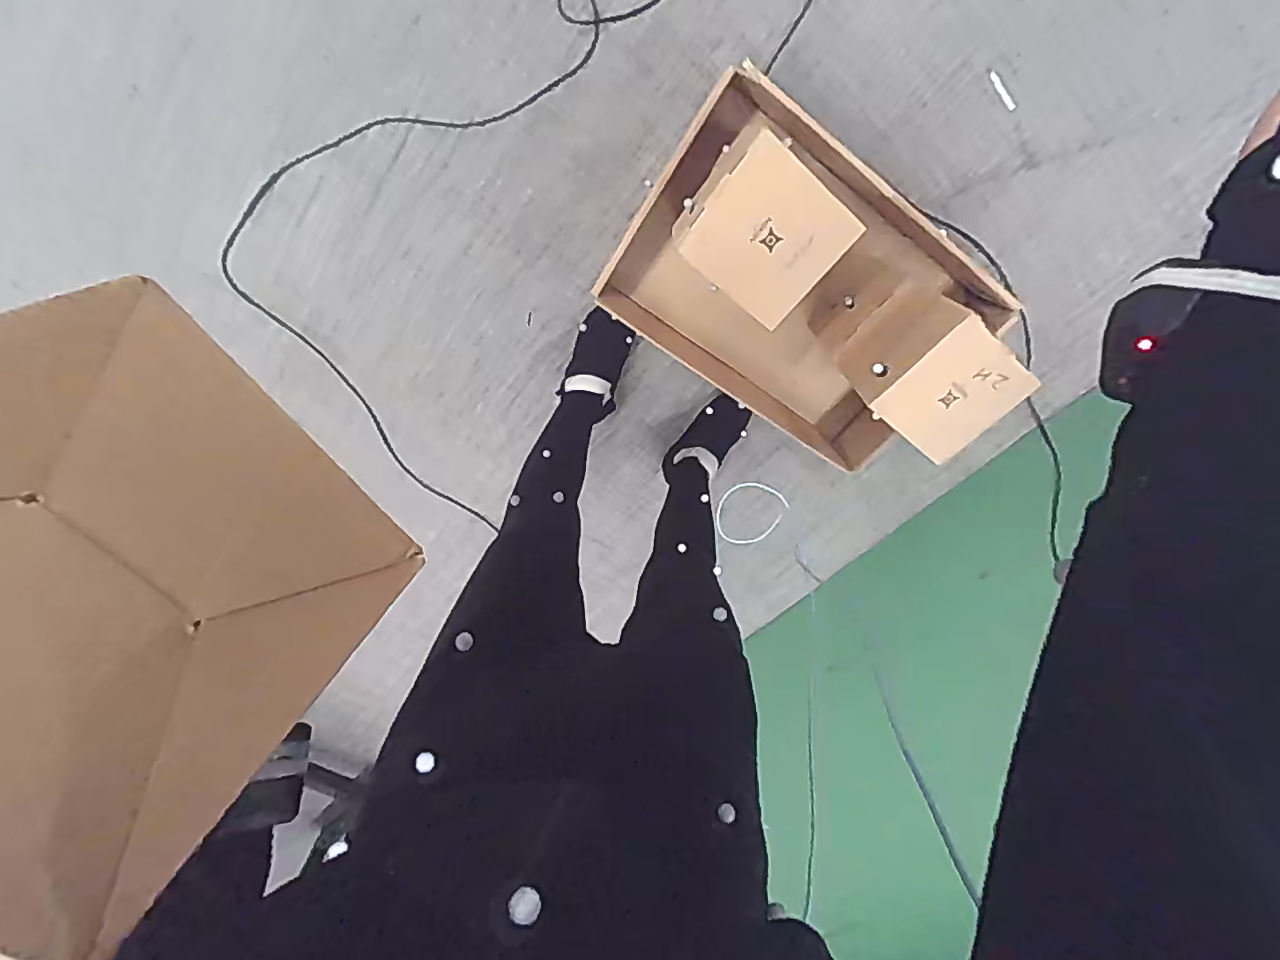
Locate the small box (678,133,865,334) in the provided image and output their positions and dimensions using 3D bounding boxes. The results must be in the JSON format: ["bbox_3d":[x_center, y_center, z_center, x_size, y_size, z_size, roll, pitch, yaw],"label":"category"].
[{"bbox_3d":[0.166,-0.337,0.743,0.179,0.176,0.168,35,118,-18],"label":"small box"}]

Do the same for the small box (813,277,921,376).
[{"bbox_3d":[0.441,-0.245,0.977,0.179,0.176,0.168,36,116,-17],"label":"small box"}]

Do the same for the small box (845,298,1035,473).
[{"bbox_3d":[0.446,-0.151,0.841,0.168,0.176,0.179,35,116,-18],"label":"small box"}]
